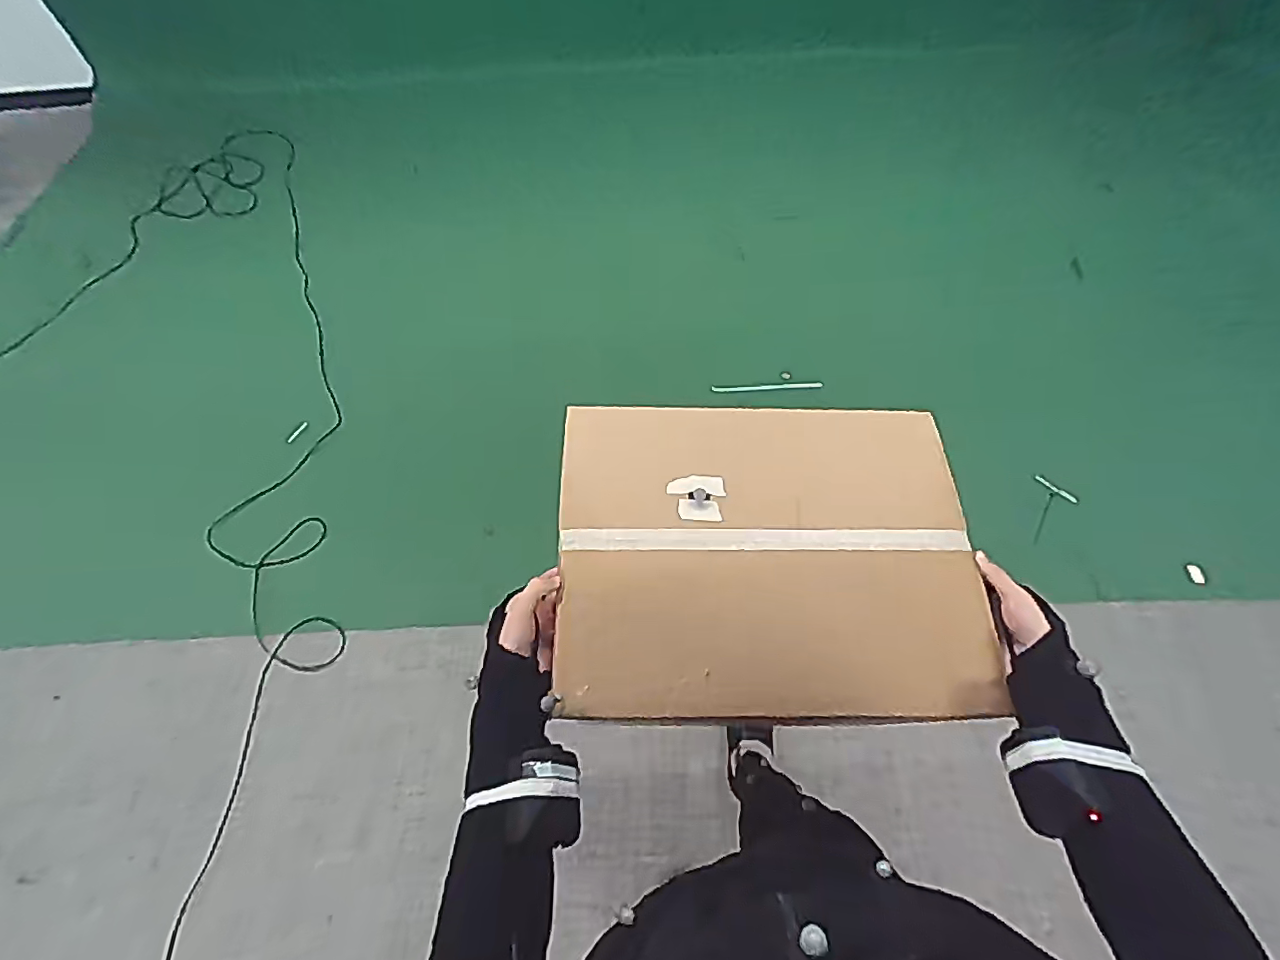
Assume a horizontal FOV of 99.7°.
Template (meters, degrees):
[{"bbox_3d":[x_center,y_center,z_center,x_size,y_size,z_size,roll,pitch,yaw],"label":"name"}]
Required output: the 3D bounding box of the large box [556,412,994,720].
[{"bbox_3d":[0.120,0.127,0.679,0.408,0.320,0.320,0,64,-1],"label":"large box"}]
